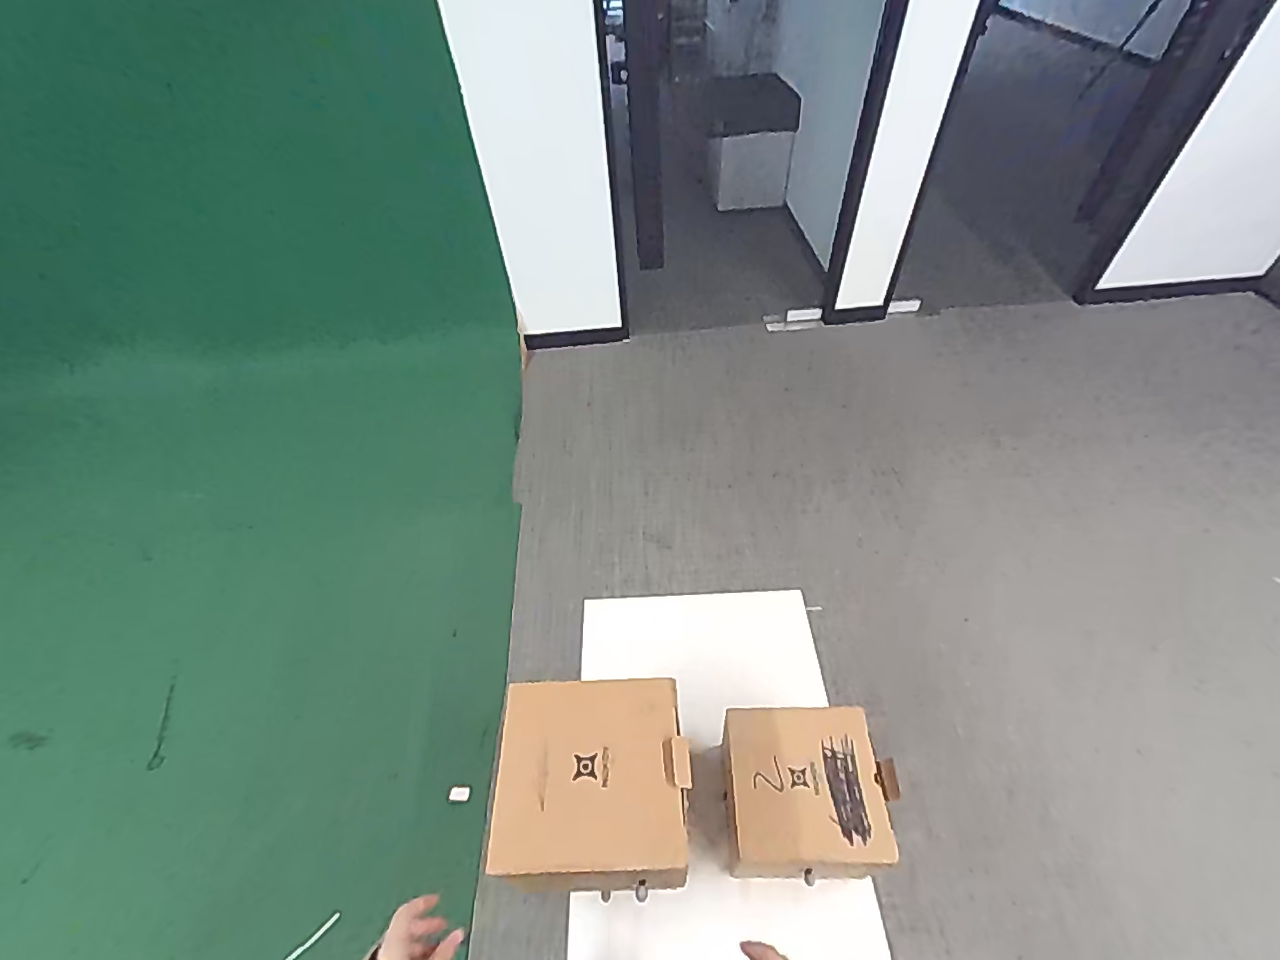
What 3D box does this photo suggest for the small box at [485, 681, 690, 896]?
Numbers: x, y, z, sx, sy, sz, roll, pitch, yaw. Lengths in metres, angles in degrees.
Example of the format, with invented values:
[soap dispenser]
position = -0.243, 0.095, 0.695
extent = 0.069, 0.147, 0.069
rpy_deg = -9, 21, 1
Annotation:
[small box]
position = -0.045, 0.325, 0.569
extent = 0.179, 0.176, 0.168
rpy_deg = -3, 48, 1
